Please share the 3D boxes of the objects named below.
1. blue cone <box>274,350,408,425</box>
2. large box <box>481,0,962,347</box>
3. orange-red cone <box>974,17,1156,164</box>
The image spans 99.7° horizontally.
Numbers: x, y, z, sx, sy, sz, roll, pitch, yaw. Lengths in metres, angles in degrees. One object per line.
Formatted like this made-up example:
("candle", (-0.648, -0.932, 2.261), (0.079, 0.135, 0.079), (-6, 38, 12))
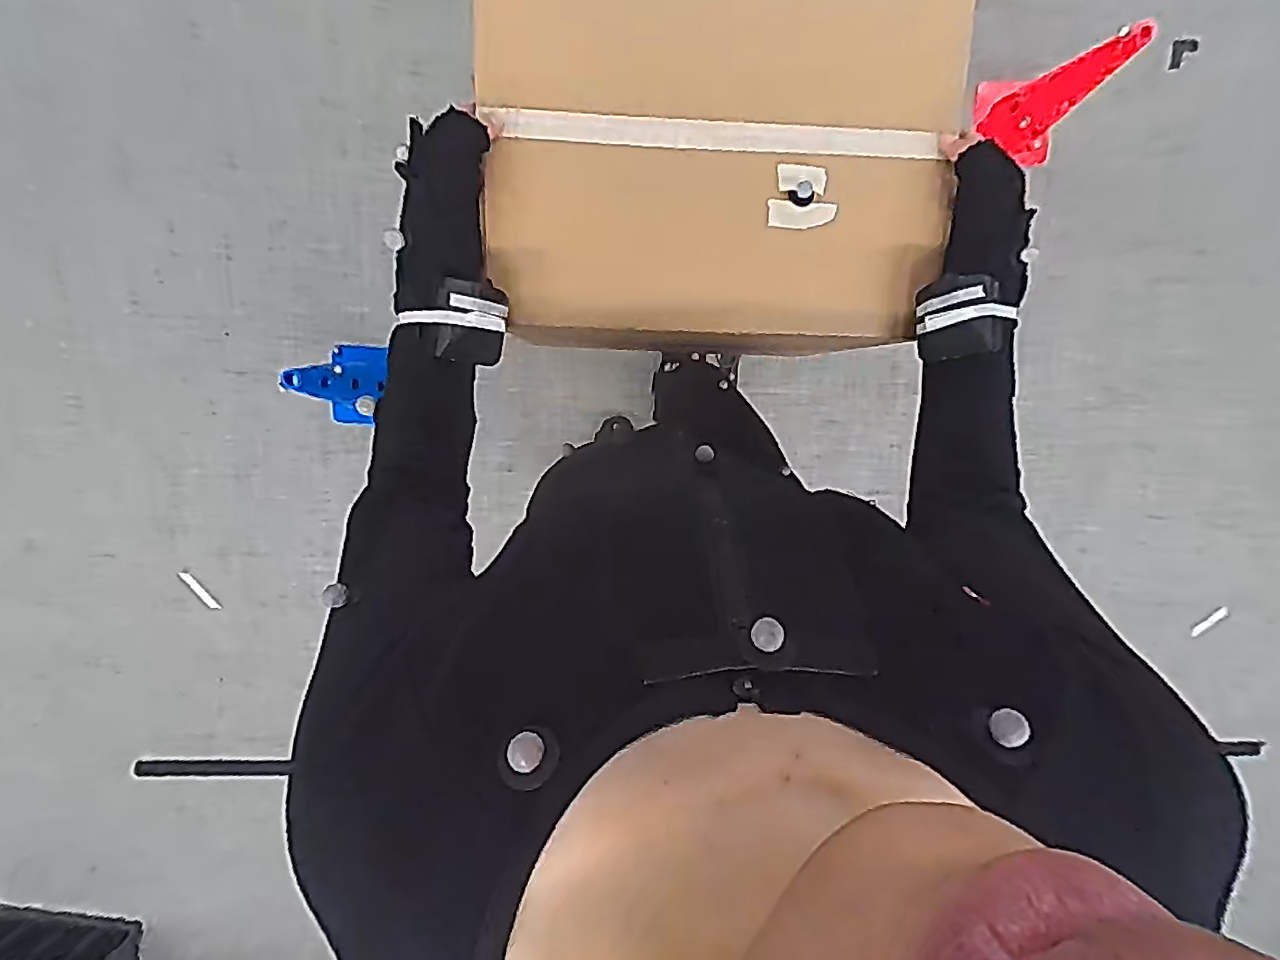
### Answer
("blue cone", (-0.693, -0.216, 1.239), (0.192, 0.380, 0.193), (4, 98, -2))
("large box", (0.058, -0.318, 0.602), (0.408, 0.320, 0.320), (0, 100, -5))
("orange-red cone", (0.963, -0.896, 1.212), (0.198, 0.360, 0.199), (-1, 97, -4))
